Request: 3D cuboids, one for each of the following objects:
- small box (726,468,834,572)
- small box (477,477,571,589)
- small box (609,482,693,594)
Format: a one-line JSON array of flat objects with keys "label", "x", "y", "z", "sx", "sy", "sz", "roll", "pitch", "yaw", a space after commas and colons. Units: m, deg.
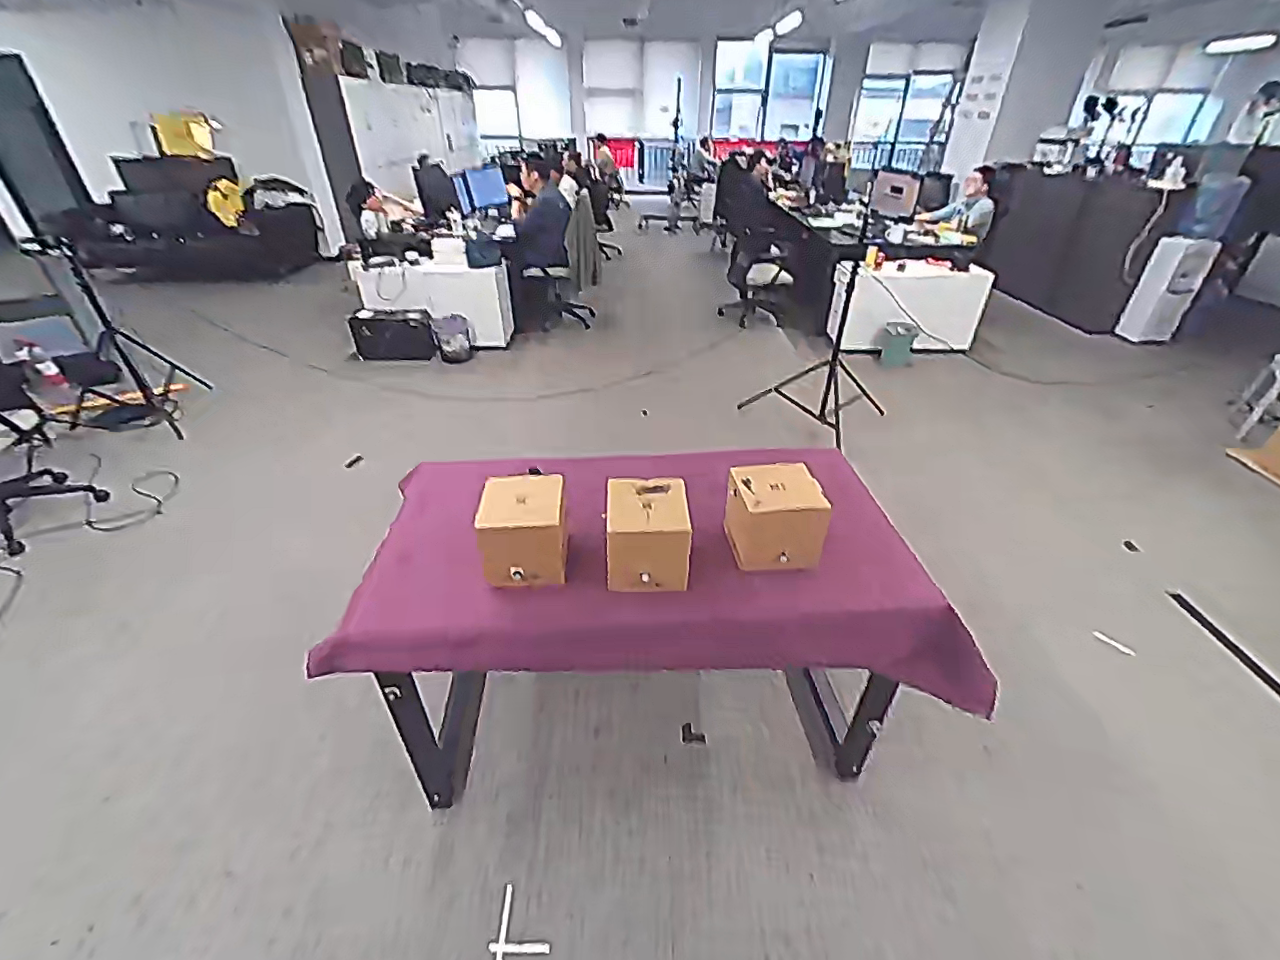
[{"label": "small box", "x": 0.301, "y": 0.088, "z": 1.201, "sx": 0.179, "sy": 0.176, "sz": 0.168, "roll": -3, "pitch": 34, "yaw": -5}, {"label": "small box", "x": -0.240, "y": 0.112, "z": 1.162, "sx": 0.168, "sy": 0.176, "sz": 0.179, "roll": -4, "pitch": 35, "yaw": -3}, {"label": "small box", "x": 0.019, "y": 0.120, "z": 1.150, "sx": 0.168, "sy": 0.176, "sz": 0.179, "roll": -1, "pitch": 34, "yaw": -1}]
